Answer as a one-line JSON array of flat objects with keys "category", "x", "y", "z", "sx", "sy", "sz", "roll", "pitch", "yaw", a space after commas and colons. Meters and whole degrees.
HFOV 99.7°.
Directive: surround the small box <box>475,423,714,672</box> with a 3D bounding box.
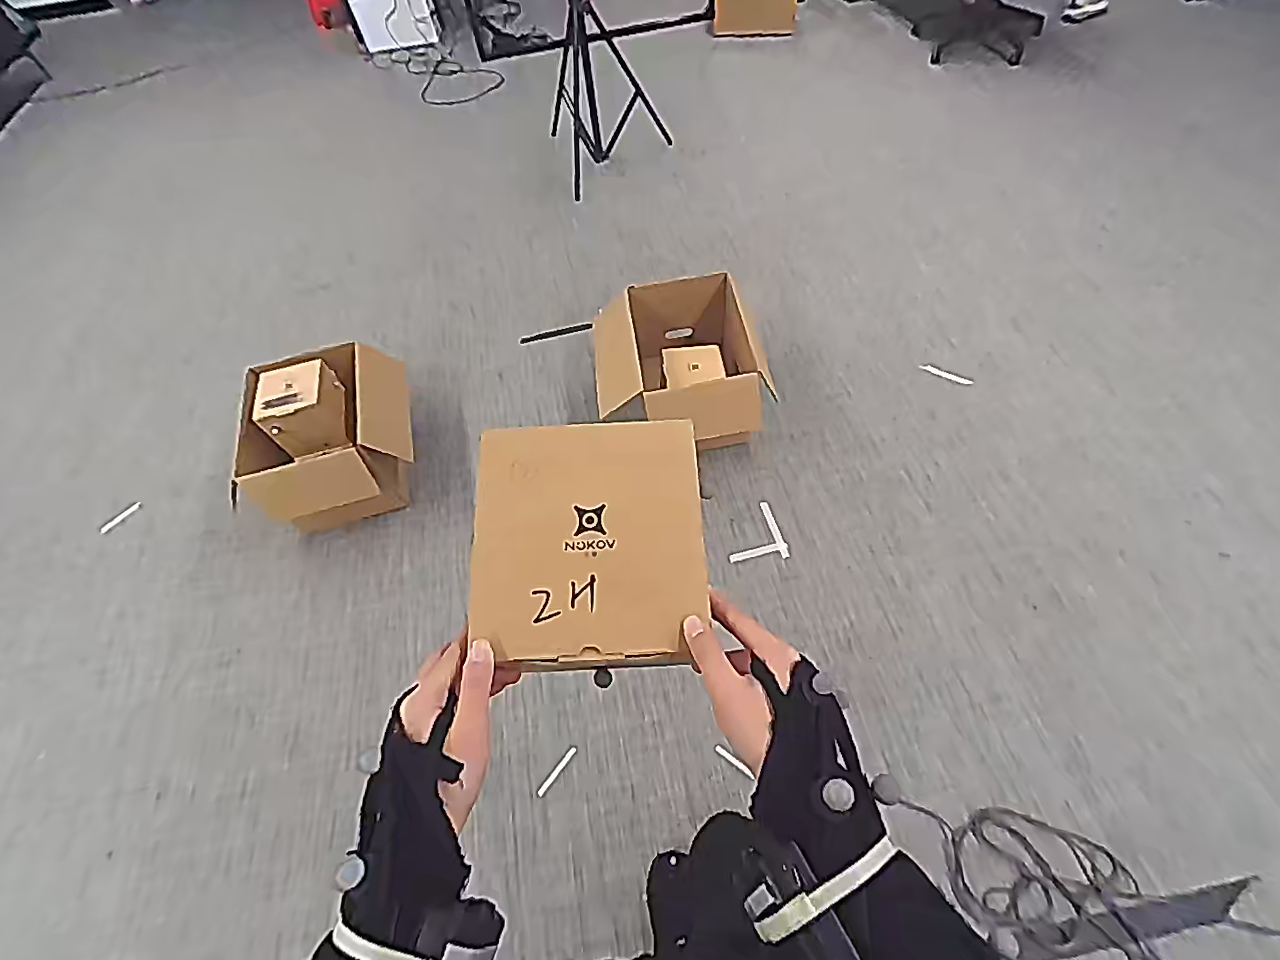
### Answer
[{"category": "small box", "x": -0.033, "y": 0.067, "z": 0.469, "sx": 0.168, "sy": 0.176, "sz": 0.179, "roll": -3, "pitch": 68, "yaw": 0}]
